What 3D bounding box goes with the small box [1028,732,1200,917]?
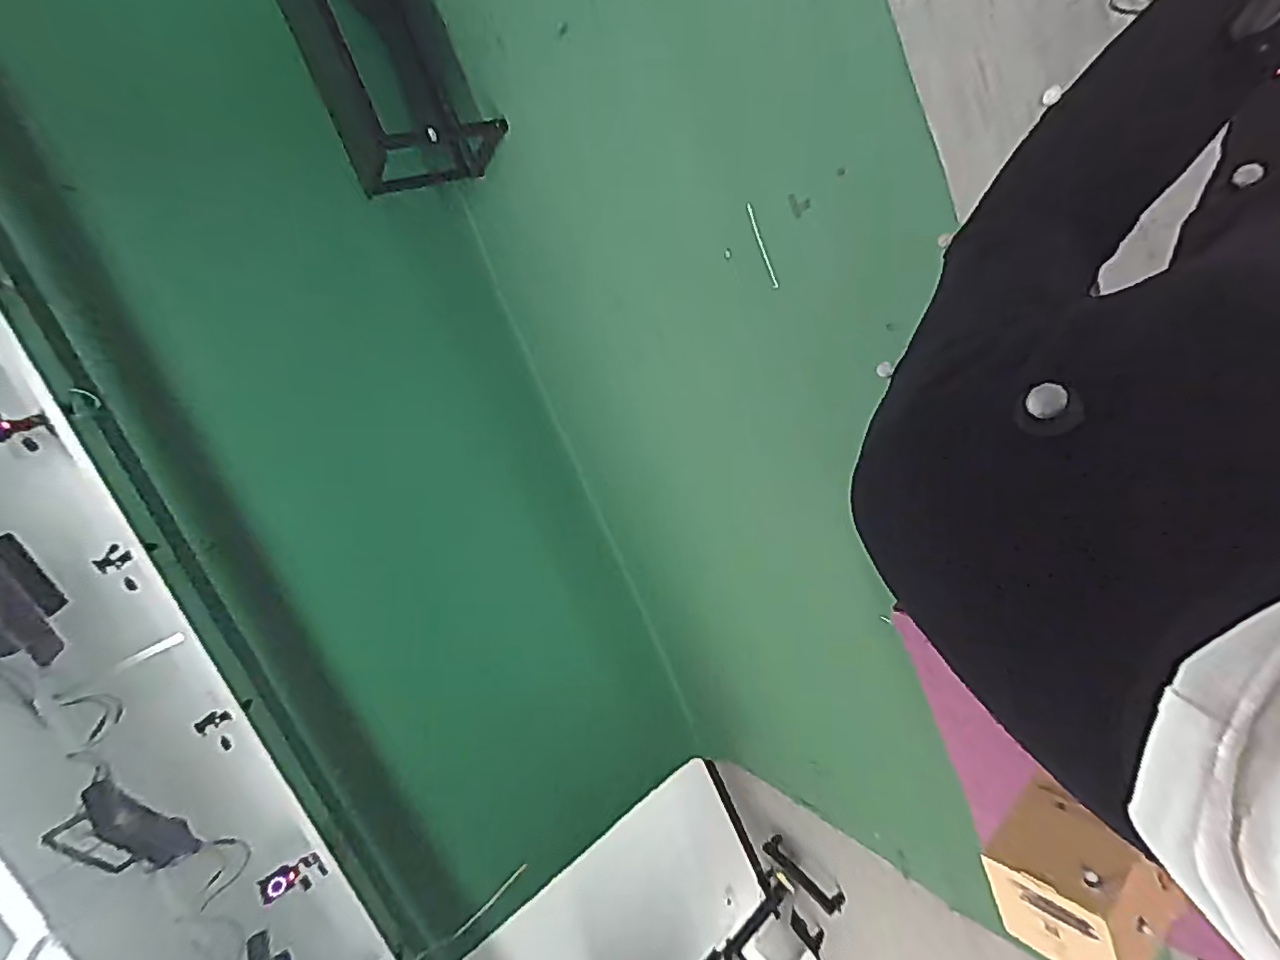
[{"bbox_3d":[0.817,0.572,0.929,0.179,0.176,0.168,-3,112,60],"label":"small box"}]
